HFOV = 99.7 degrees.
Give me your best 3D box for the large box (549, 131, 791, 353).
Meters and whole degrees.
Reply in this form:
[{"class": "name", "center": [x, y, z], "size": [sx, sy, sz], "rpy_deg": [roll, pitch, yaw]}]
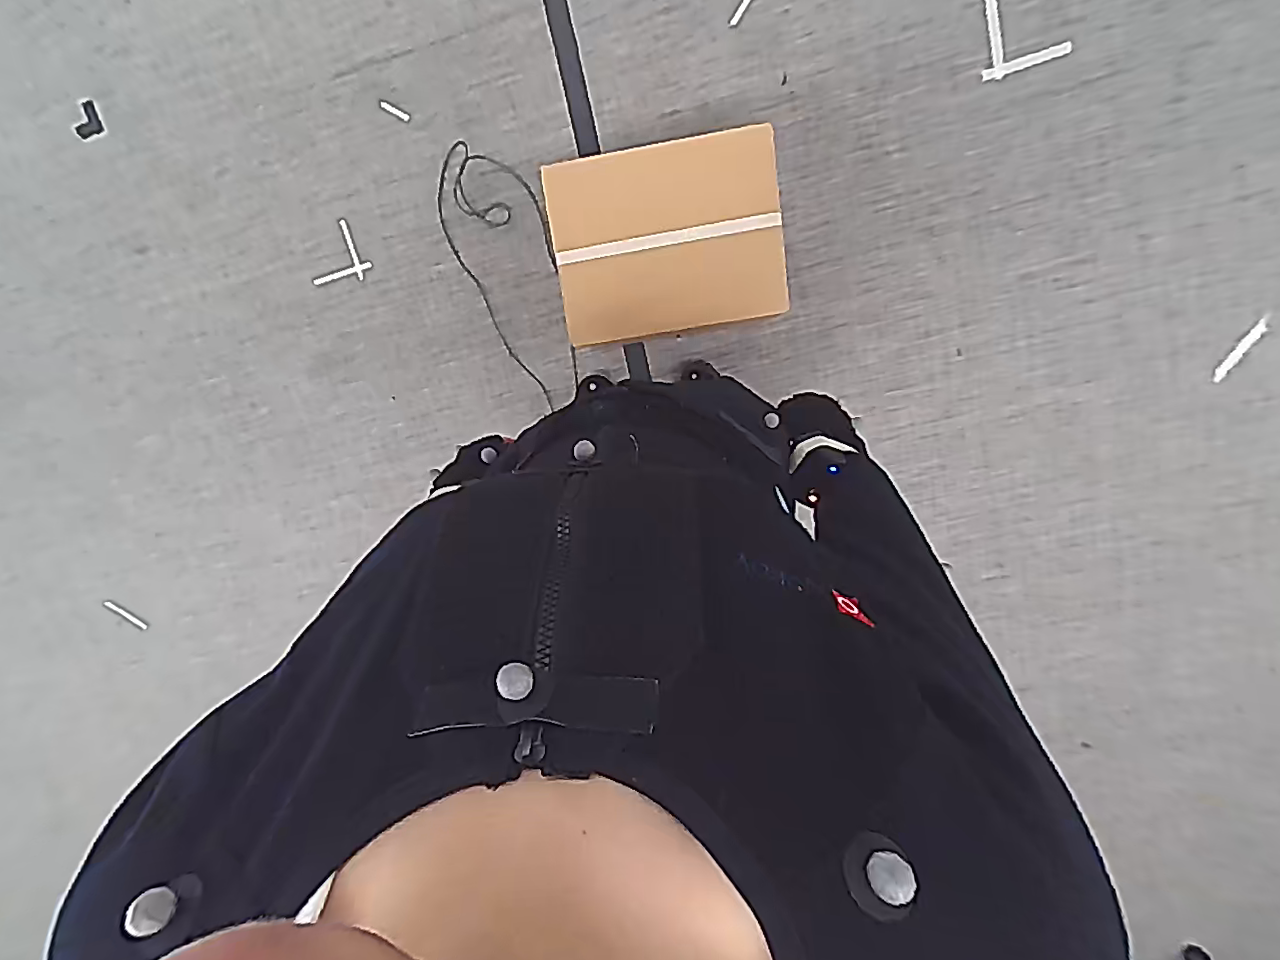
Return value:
[{"class": "large box", "center": [0.064, -0.448, 1.109], "size": [0.408, 0.320, 0.320], "rpy_deg": [-7, 103, 5]}]
